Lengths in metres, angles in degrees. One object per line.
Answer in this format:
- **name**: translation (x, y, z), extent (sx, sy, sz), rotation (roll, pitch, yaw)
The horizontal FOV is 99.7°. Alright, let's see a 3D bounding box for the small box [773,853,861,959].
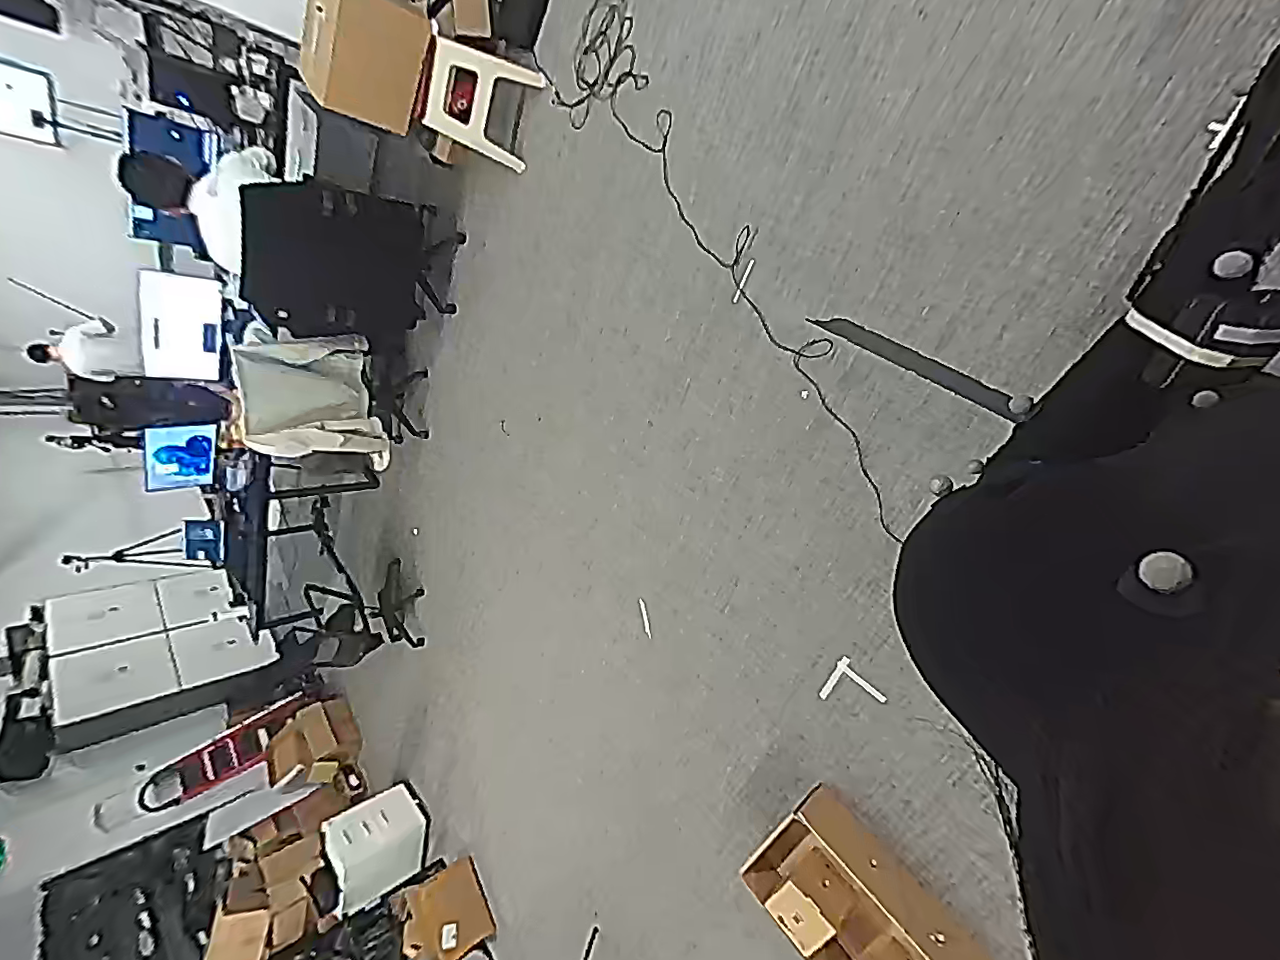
- **small box**: translation (0.543, 1.286, 1.639), extent (0.168, 0.176, 0.179), rotation (41, 120, 28)
